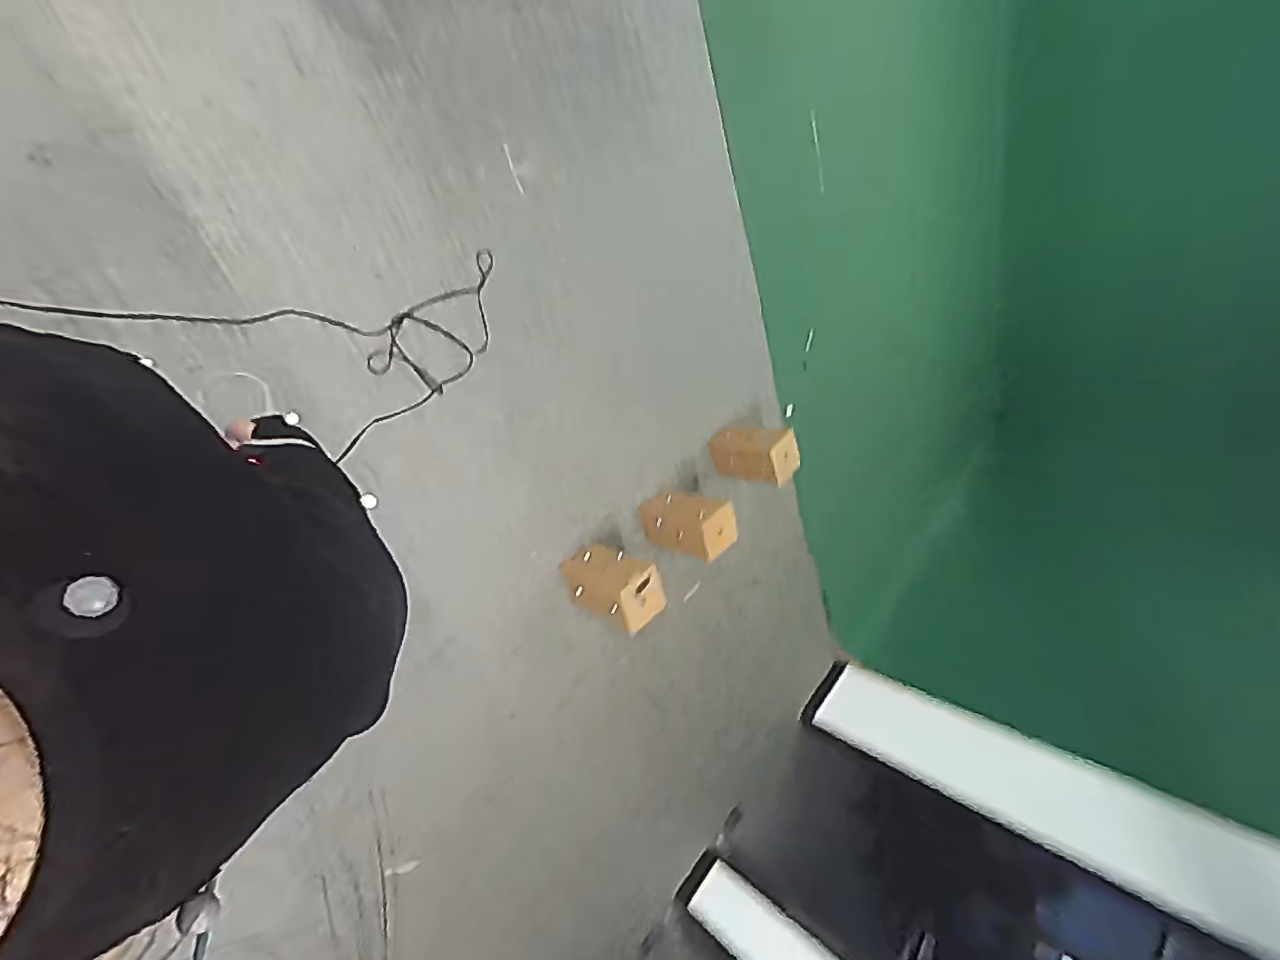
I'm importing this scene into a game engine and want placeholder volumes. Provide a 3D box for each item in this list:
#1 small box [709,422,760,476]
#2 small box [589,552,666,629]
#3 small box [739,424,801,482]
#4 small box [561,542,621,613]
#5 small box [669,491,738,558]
[{"bbox_3d":[0.421,-0.141,2.340,0.168,0.176,0.179,-39,123,-29],"label":"small box"},{"bbox_3d":[-0.045,0.358,1.799,0.168,0.176,0.179,-34,121,-32],"label":"small box"},{"bbox_3d":[0.531,-0.117,2.219,0.168,0.176,0.179,-39,123,-28],"label":"small box"},{"bbox_3d":[-0.155,0.335,1.920,0.168,0.176,0.179,-35,120,-31],"label":"small box"},{"bbox_3d":[0.236,0.159,2.013,0.179,0.176,0.168,-34,121,-32],"label":"small box"}]
